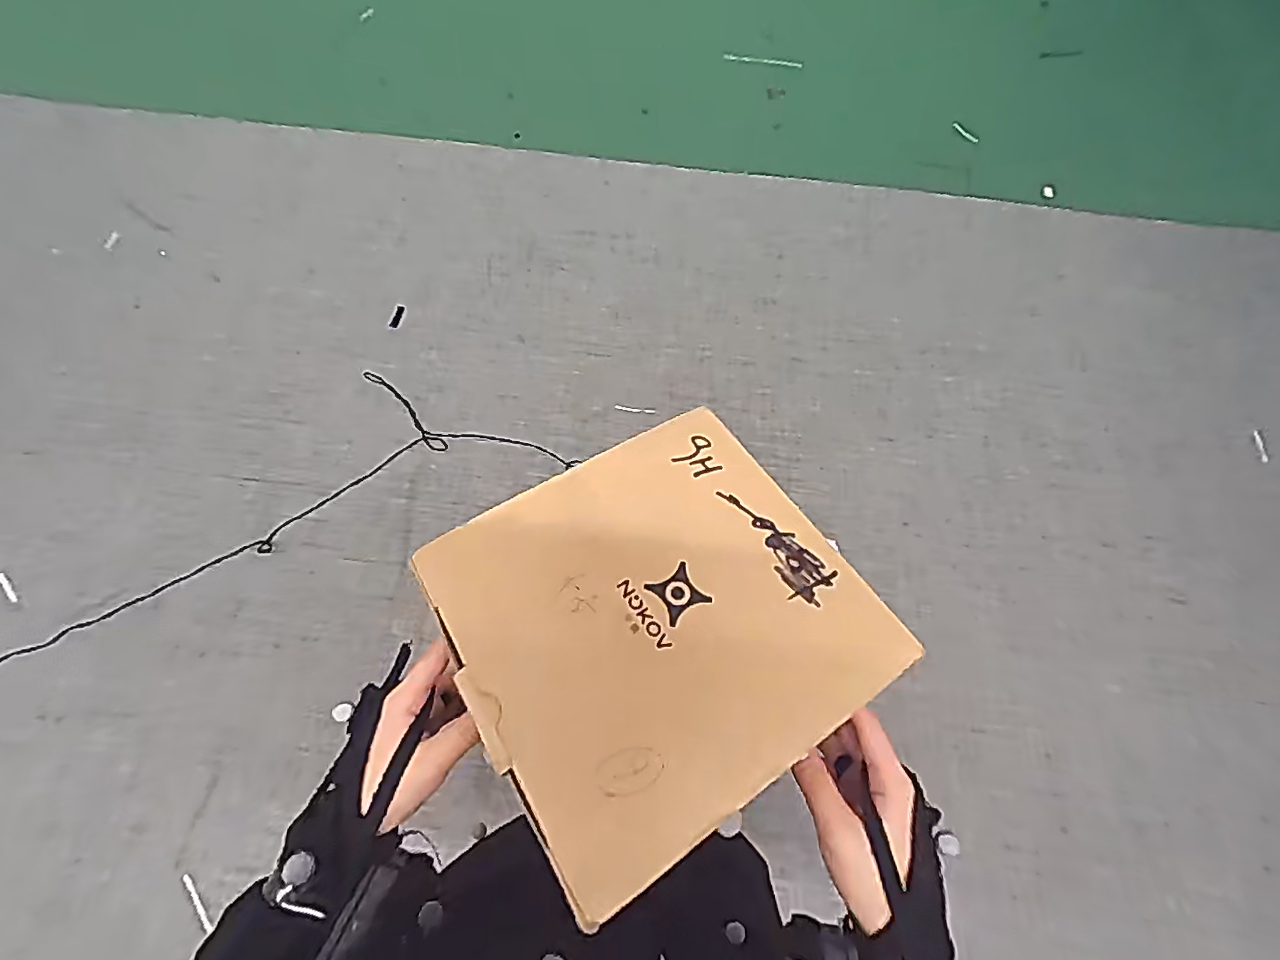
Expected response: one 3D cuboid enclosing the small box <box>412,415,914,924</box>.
[{"bbox_3d":[0.005,0.101,0.312,0.179,0.176,0.168,-28,63,-18],"label":"small box"}]
